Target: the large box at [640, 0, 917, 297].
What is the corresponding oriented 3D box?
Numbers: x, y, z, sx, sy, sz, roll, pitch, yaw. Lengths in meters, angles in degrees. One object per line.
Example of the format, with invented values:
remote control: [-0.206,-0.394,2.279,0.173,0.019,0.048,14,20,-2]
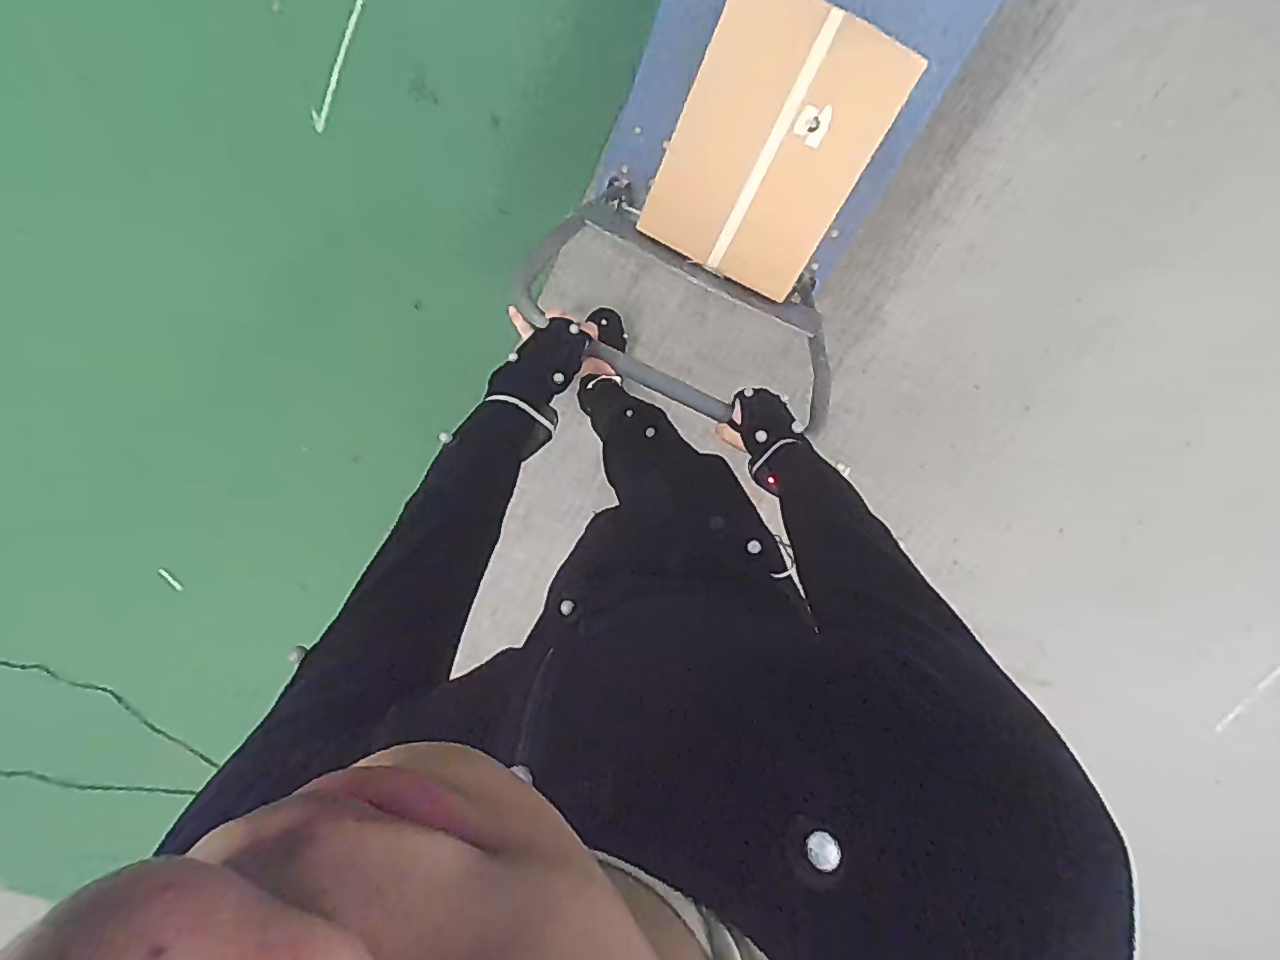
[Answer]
large box: [0.238,-0.637,1.042,0.320,0.320,0.408,26,124,-6]
